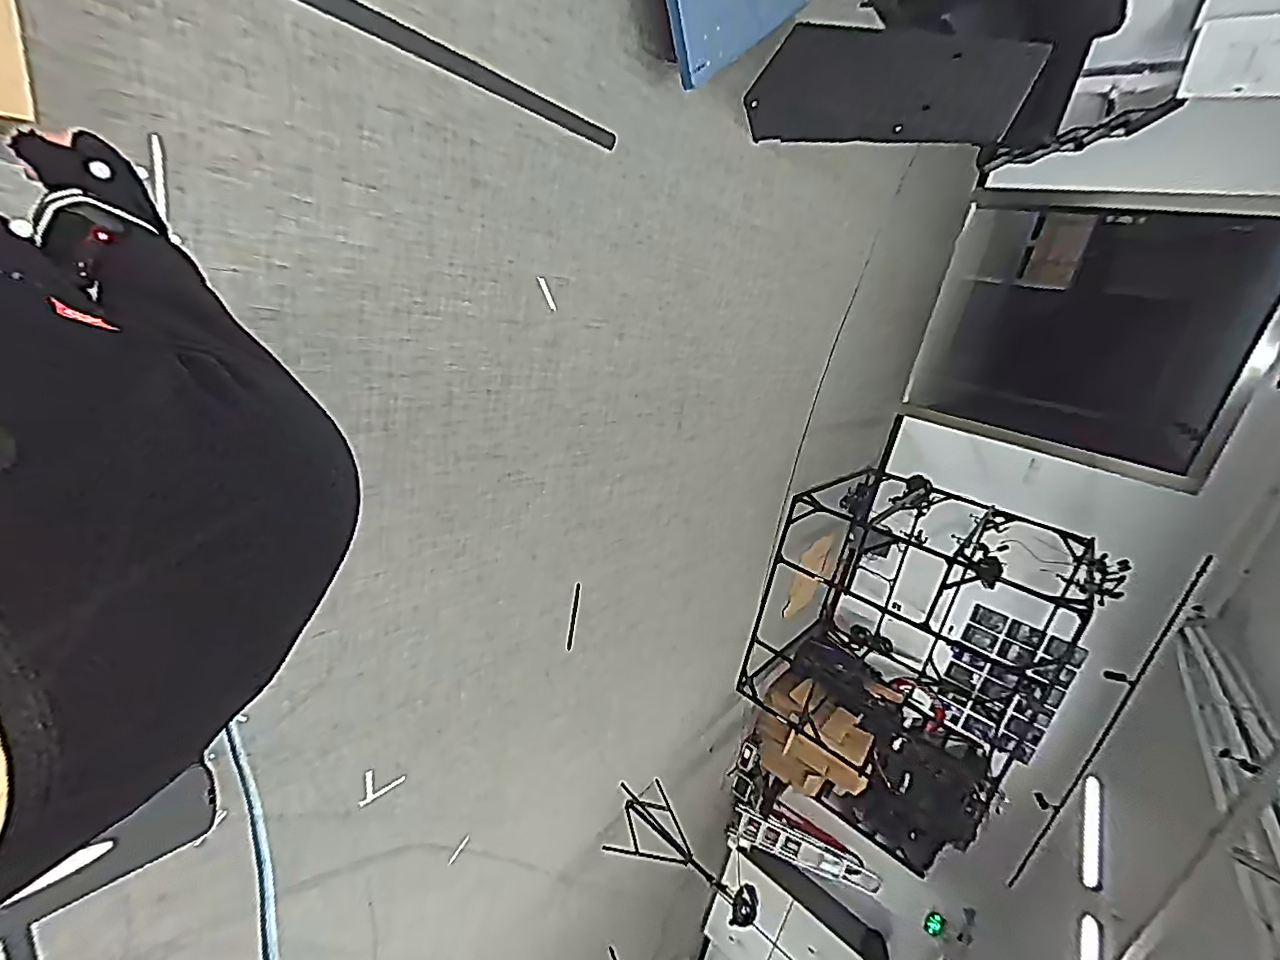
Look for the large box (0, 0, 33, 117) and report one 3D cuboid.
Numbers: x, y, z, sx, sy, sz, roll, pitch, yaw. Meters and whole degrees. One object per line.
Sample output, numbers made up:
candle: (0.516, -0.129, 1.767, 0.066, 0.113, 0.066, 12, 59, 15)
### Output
large box: (-1.041, -0.654, 0.613, 0.408, 0.320, 0.320, -16, 123, -50)
